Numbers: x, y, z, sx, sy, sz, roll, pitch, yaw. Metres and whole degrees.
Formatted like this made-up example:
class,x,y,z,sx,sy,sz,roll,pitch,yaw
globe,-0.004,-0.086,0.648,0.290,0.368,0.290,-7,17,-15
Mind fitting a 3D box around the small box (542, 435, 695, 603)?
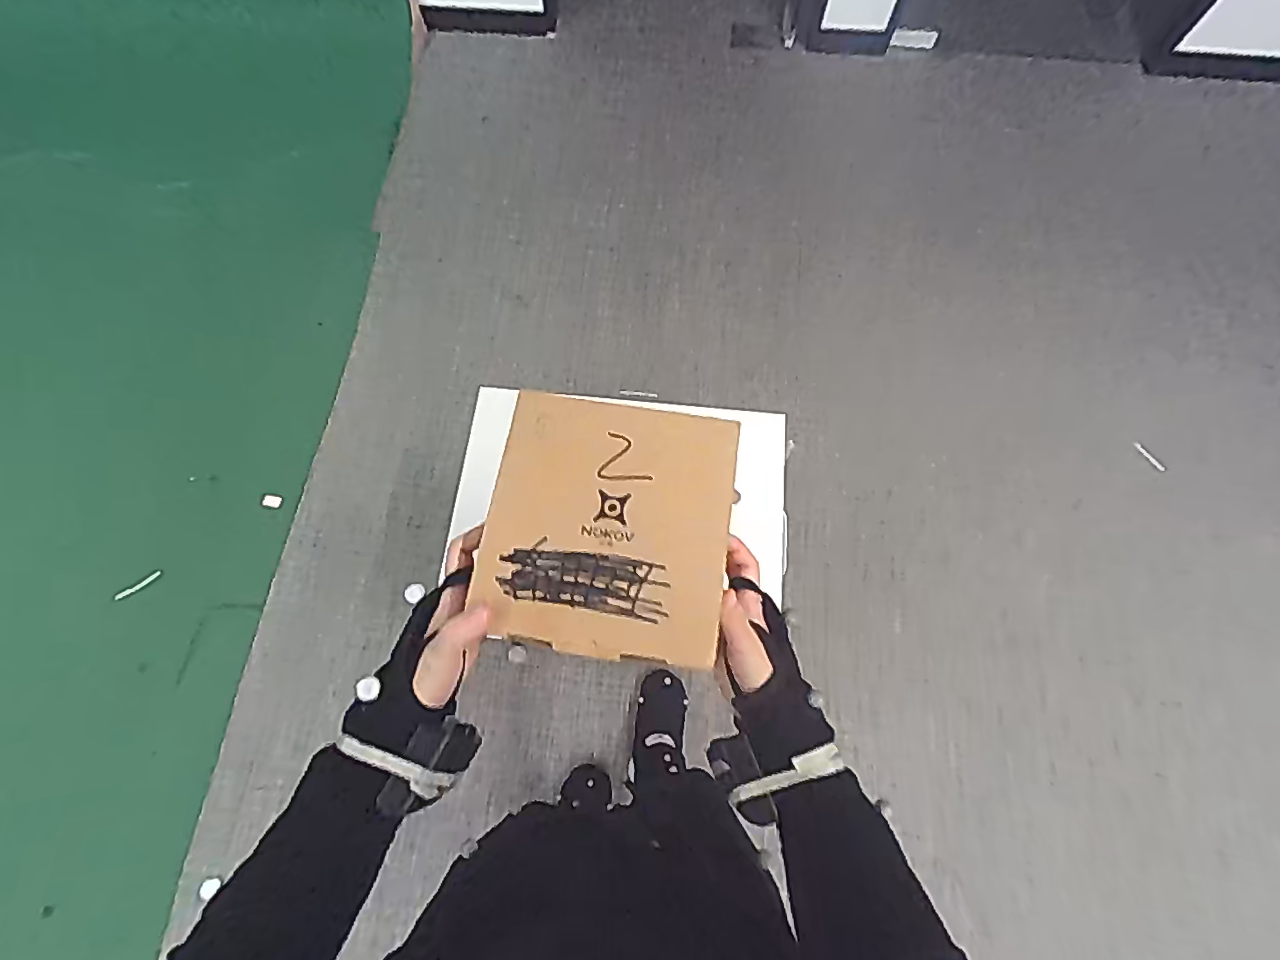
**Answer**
class,x,y,z,sx,sy,sz,roll,pitch,yaw
small box,-0.024,0.060,0.734,0.168,0.176,0.179,7,71,3
